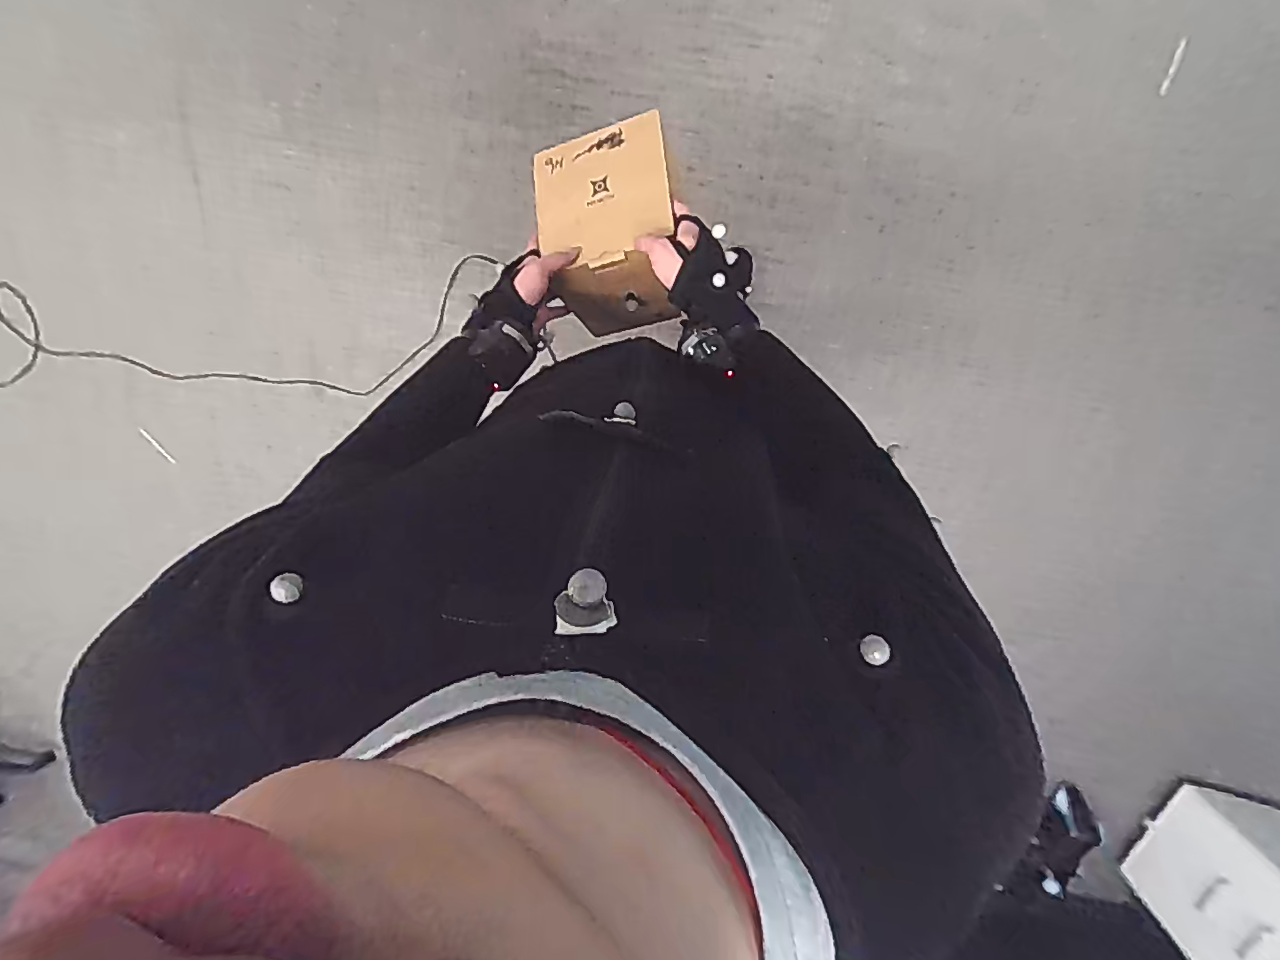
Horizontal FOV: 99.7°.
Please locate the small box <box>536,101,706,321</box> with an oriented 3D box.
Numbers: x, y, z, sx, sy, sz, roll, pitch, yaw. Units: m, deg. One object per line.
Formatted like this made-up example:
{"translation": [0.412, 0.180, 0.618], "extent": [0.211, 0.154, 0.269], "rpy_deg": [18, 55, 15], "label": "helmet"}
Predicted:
{"translation": [-0.017, -0.327, 0.703], "extent": [0.168, 0.176, 0.179], "rpy_deg": [-11, 77, 16], "label": "small box"}
